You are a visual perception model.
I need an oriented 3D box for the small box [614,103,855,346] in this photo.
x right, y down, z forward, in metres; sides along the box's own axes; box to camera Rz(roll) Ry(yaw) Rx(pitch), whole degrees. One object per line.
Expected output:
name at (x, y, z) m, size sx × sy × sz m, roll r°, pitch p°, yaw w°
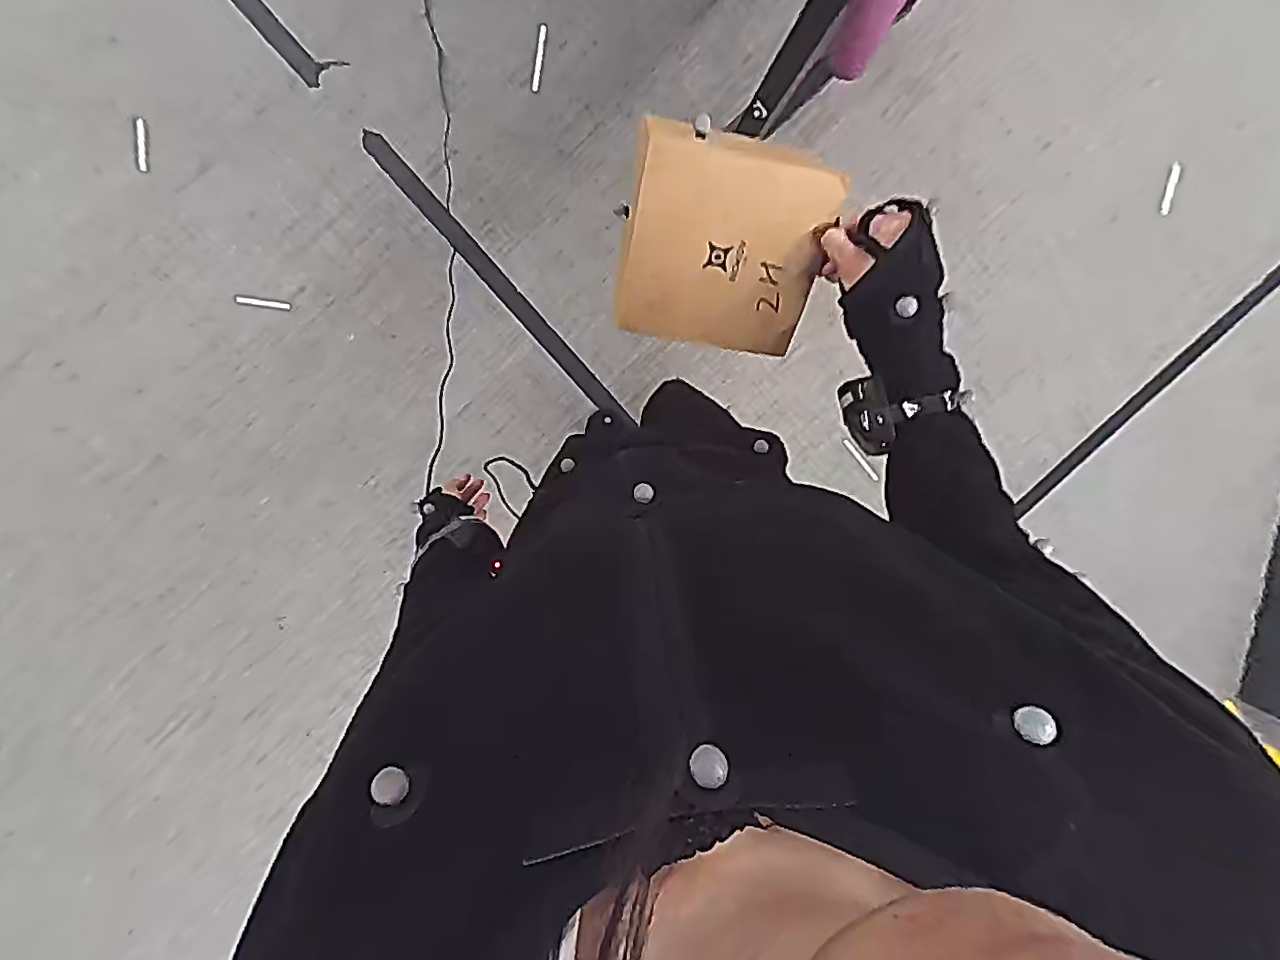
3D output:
small box at (0.072, -0.256, 0.535) m, size 0.179 × 0.176 × 0.168 m, roll 6°, pitch 129°, yaw -9°
